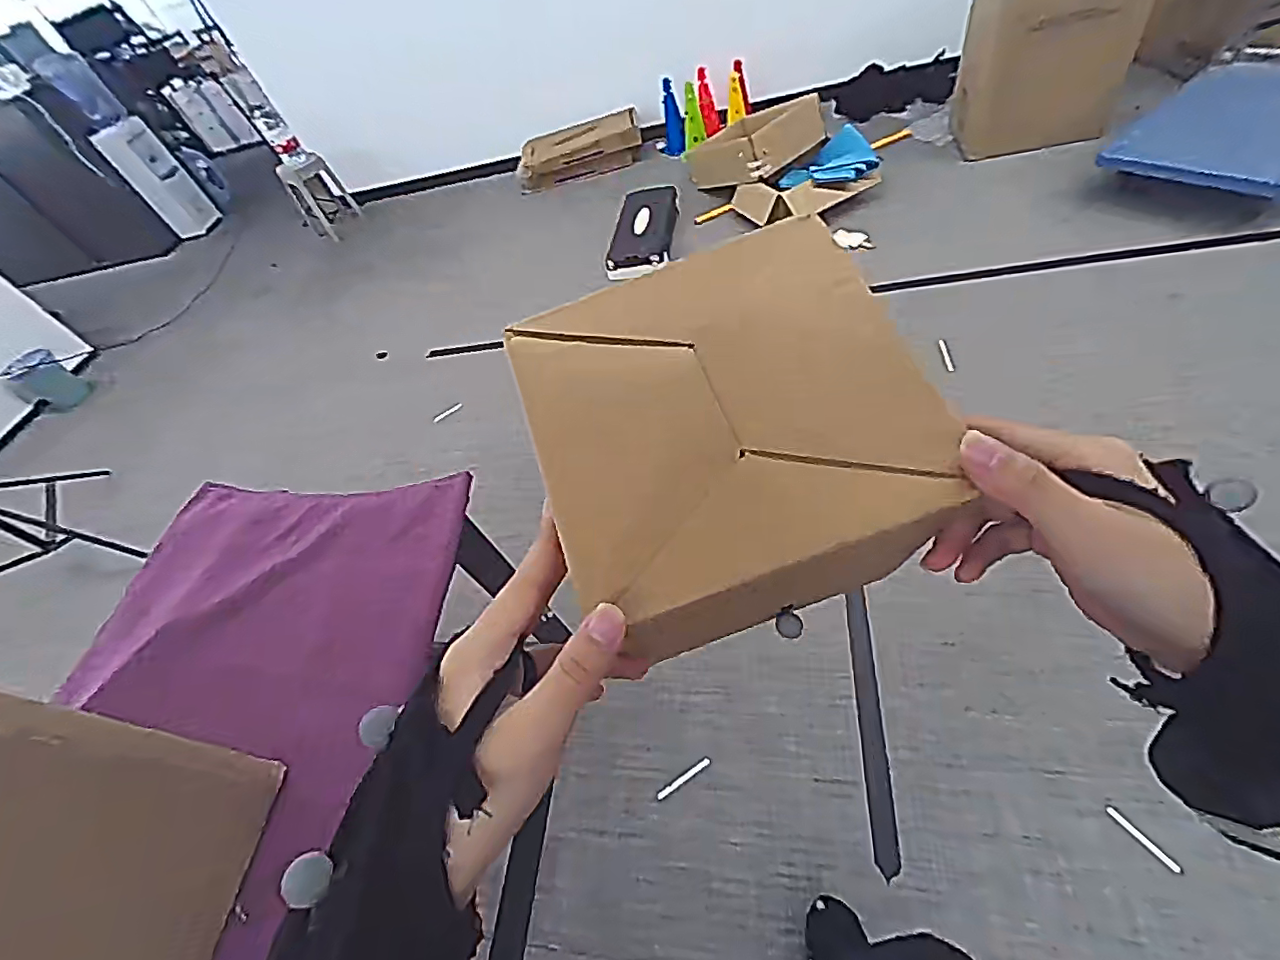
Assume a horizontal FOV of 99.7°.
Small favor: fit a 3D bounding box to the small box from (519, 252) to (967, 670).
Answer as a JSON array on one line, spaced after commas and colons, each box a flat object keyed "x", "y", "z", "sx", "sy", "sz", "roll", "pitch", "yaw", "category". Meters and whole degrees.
[{"x": 0.046, "y": -0.002, "z": 0.326, "sx": 0.179, "sy": 0.176, "sz": 0.168, "roll": -21, "pitch": 65, "yaw": 1, "category": "small box"}]
